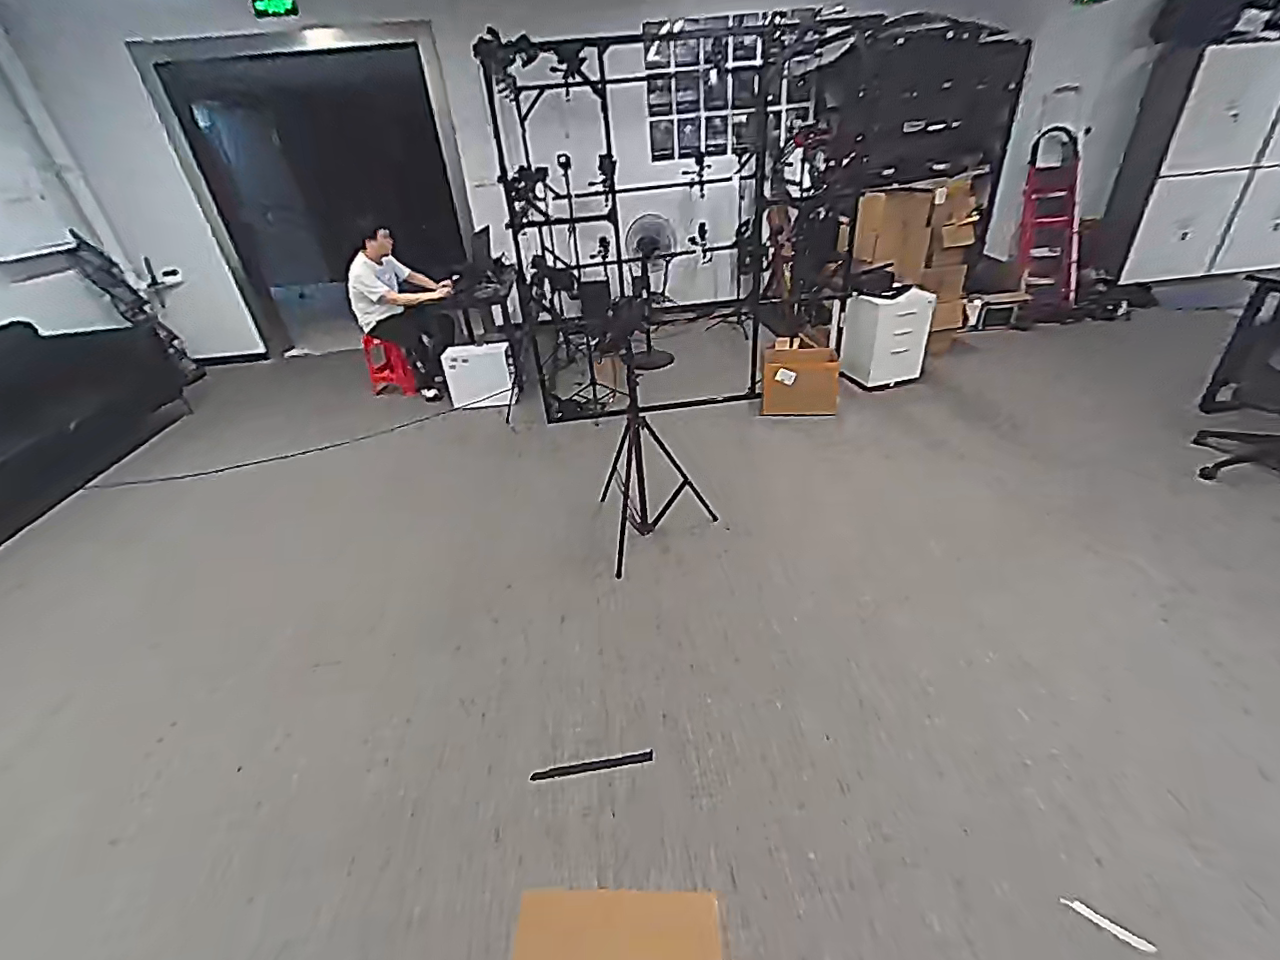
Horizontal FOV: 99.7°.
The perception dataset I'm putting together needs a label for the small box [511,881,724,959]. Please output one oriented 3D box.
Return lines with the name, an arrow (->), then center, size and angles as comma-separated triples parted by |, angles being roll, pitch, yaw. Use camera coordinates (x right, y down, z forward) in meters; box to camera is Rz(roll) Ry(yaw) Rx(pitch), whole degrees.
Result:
small box -> -0.015, 0.451, 0.428 | 0.168, 0.176, 0.179 | -3, 38, 4
